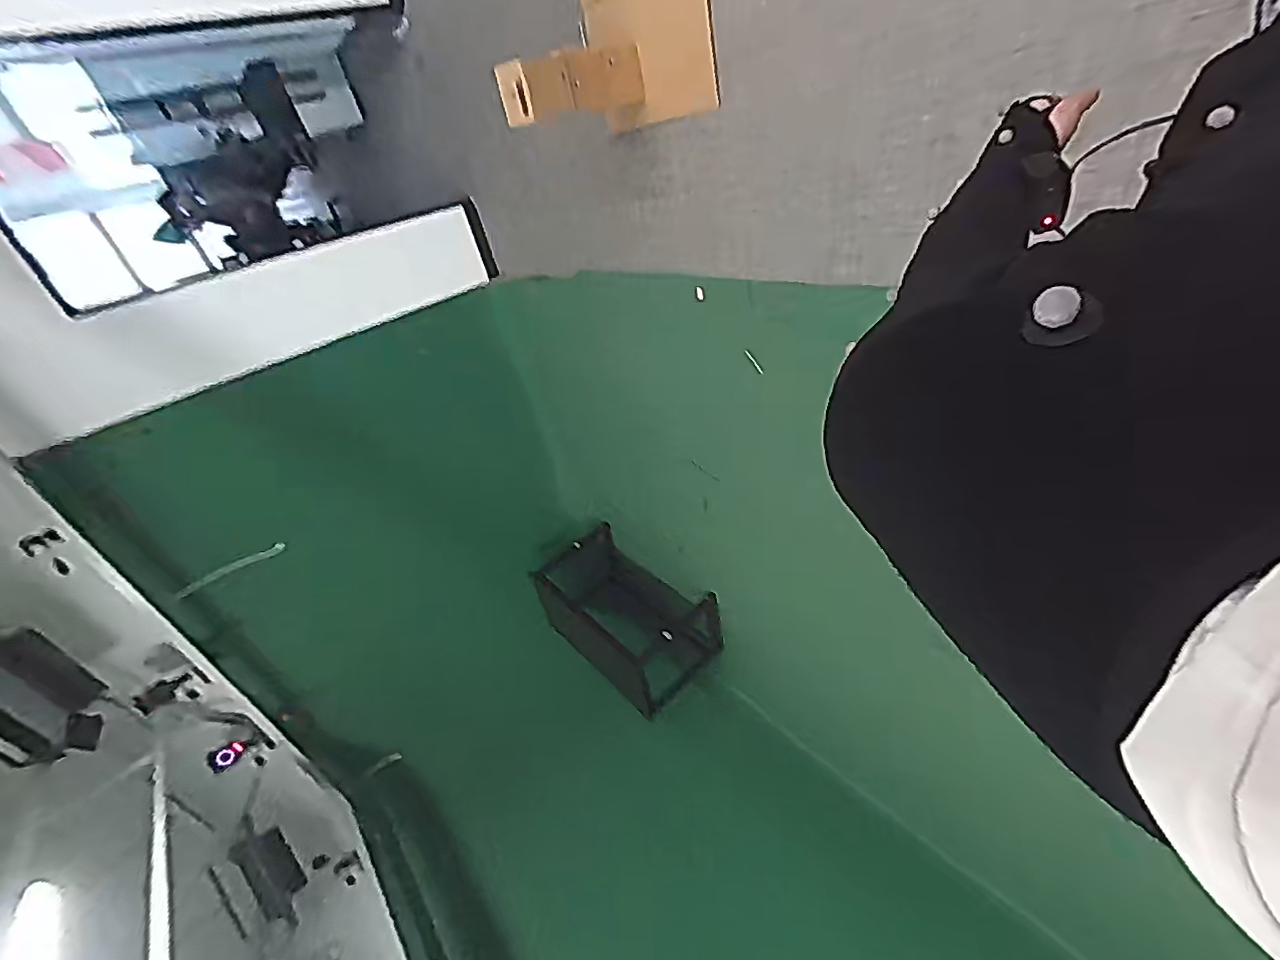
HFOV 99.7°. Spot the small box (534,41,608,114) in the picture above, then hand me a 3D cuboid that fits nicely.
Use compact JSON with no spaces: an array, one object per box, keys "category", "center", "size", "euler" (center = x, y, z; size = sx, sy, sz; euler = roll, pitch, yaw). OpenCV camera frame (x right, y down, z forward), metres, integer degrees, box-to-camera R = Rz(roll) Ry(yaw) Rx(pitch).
[{"category":"small box","center":[-0.233,-1.385,1.861],"size":[0.168,0.176,0.179],"euler":[26,141,43]}]

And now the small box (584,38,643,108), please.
[{"category":"small box","center":[-0.113,-1.460,1.939],"size":[0.168,0.176,0.179],"euler":[27,141,44]}]
